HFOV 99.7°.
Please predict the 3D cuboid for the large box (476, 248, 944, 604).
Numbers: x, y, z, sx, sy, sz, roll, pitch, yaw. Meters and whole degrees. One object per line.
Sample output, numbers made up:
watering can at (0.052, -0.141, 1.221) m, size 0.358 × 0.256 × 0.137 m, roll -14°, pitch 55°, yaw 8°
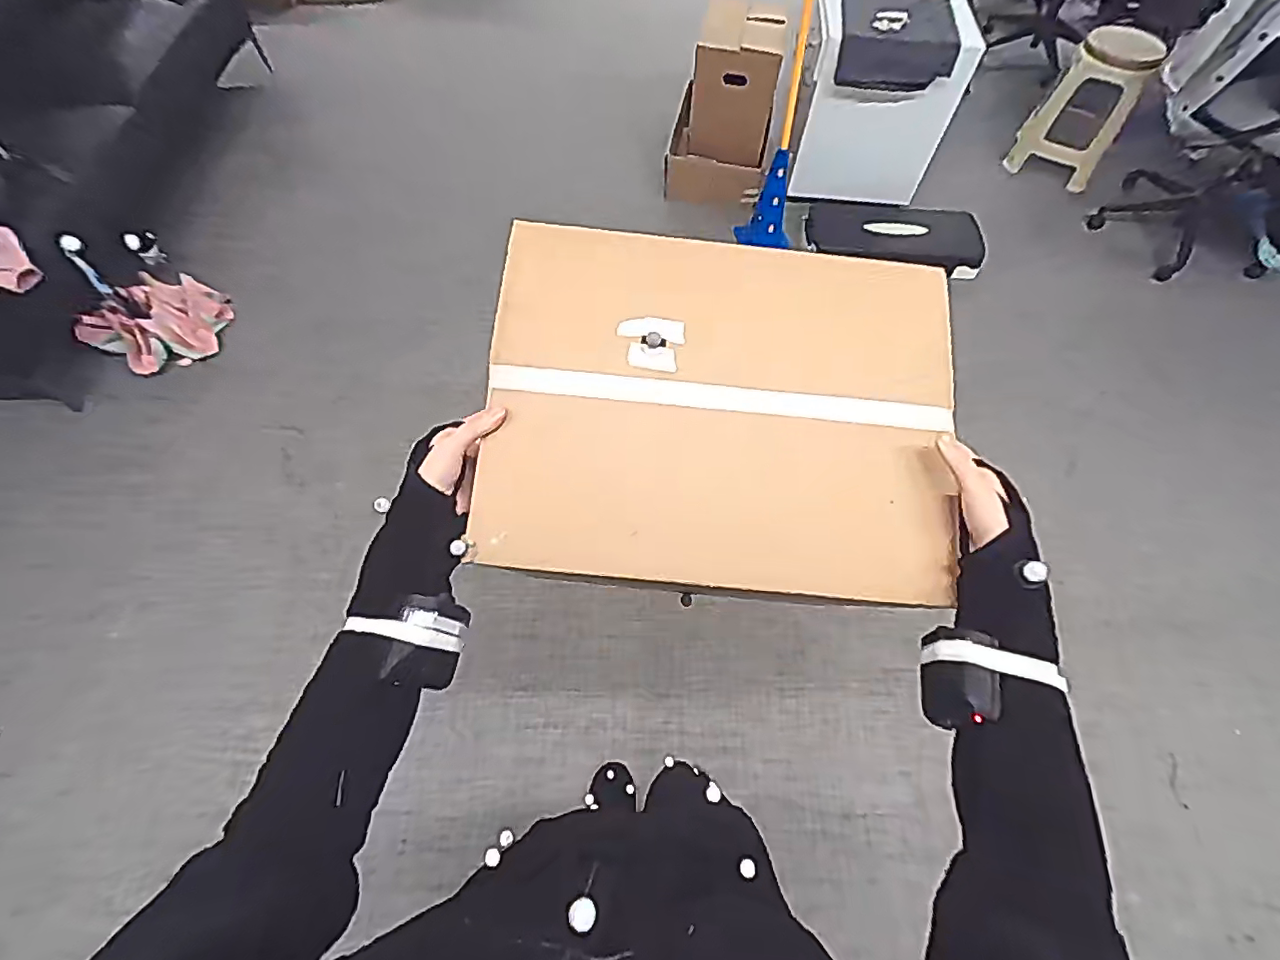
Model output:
large box at (0.068, -0.028, 0.630) m, size 0.408 × 0.320 × 0.320 m, roll 5°, pitch 76°, yaw -1°
